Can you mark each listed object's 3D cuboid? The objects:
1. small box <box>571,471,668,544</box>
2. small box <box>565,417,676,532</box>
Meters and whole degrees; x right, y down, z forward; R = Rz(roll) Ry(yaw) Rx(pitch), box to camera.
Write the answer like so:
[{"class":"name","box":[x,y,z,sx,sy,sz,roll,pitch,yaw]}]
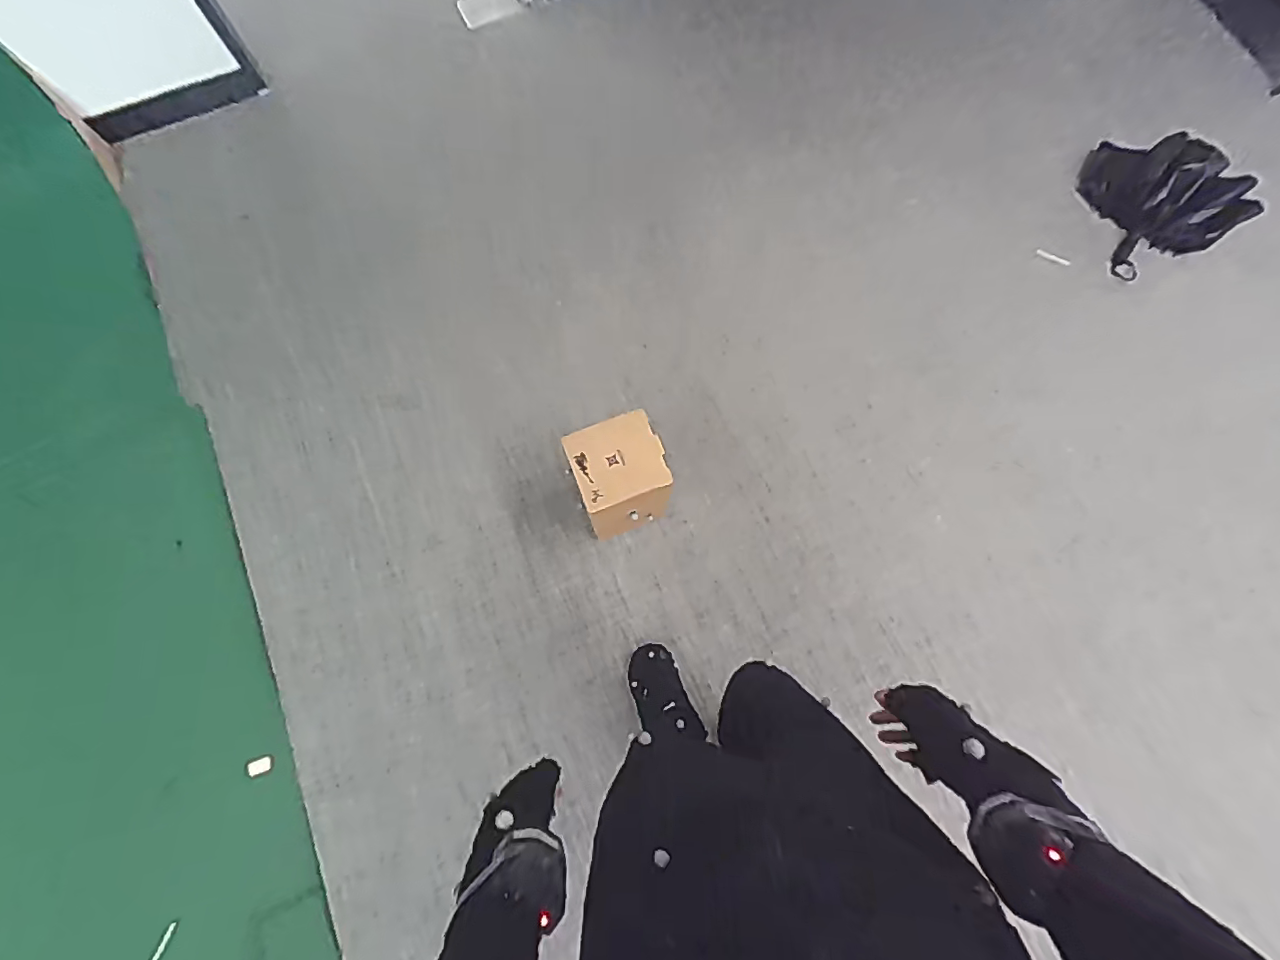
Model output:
[{"class":"small box","box":[-0.046,0.037,1.278,0.179,0.176,0.168,-23,76,-5]},{"class":"small box","box":[-0.041,-0.005,1.120,0.179,0.176,0.168,-20,75,-6]}]
